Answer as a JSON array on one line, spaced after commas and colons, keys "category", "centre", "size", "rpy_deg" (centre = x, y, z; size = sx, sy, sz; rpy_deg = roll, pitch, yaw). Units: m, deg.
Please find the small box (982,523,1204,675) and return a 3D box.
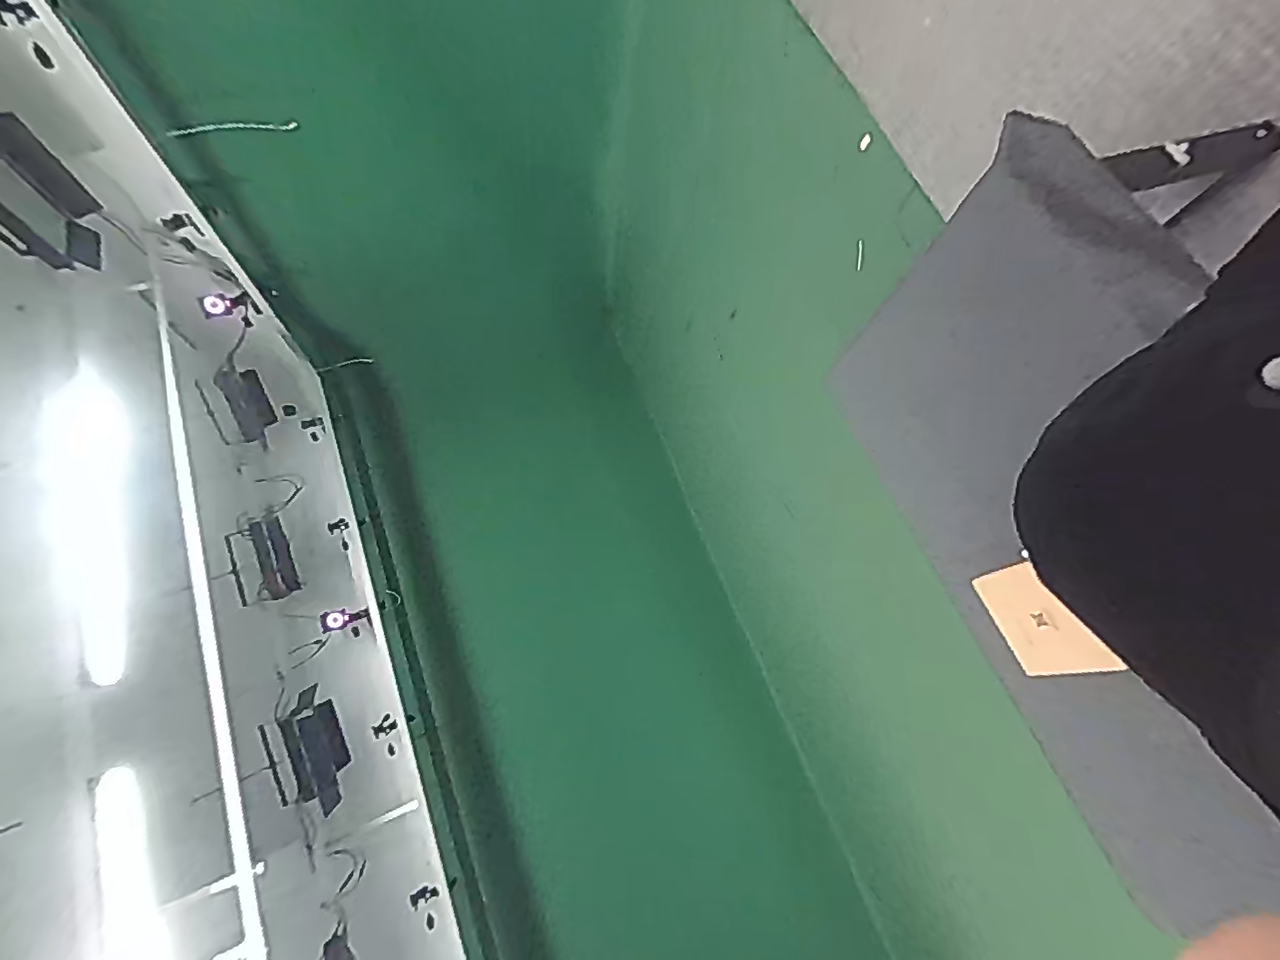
[{"category": "small box", "centre": [0.689, 0.183, 0.828], "size": [0.179, 0.176, 0.168], "rpy_deg": [107, 143, -66]}]
